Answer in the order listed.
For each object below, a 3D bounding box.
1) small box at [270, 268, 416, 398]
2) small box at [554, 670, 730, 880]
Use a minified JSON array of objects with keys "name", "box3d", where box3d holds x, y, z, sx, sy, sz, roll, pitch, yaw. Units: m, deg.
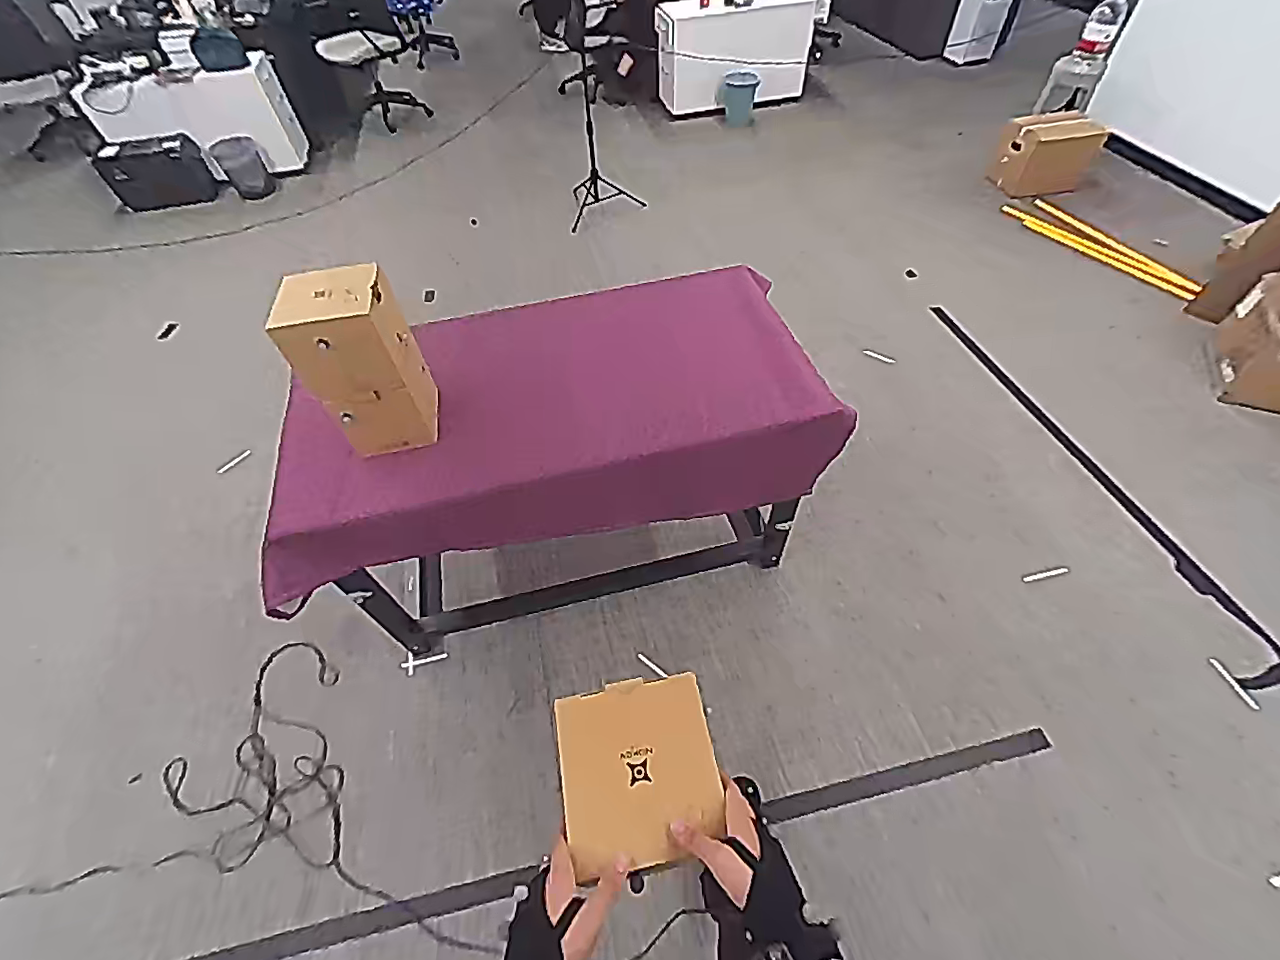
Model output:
[{"name":"small box","box3d":[-0.551,-0.274,1.027,0.179,0.176,0.168,-10,53,-5]},{"name":"small box","box3d":[-0.002,0.353,0.640,0.168,0.176,0.179,-9,50,-6]}]
